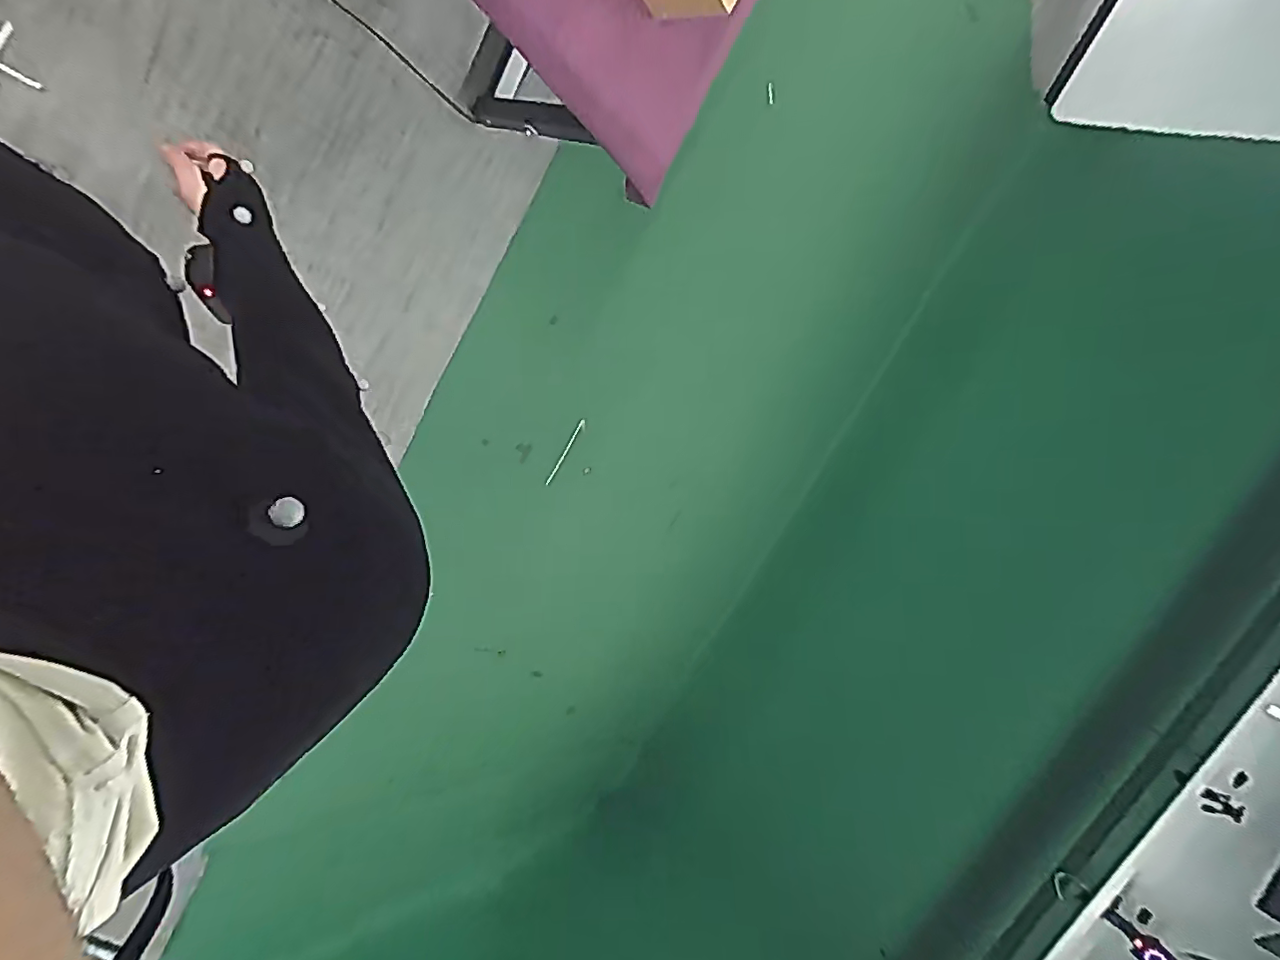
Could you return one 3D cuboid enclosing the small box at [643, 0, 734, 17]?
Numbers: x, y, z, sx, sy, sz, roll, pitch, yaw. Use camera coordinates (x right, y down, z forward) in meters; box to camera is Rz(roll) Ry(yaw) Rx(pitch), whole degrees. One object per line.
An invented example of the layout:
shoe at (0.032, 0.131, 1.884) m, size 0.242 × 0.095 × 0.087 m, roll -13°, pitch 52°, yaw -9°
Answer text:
small box at (0.066, -0.813, 0.768) m, size 0.179 × 0.176 × 0.168 m, roll 18°, pitch 104°, yaw -54°
